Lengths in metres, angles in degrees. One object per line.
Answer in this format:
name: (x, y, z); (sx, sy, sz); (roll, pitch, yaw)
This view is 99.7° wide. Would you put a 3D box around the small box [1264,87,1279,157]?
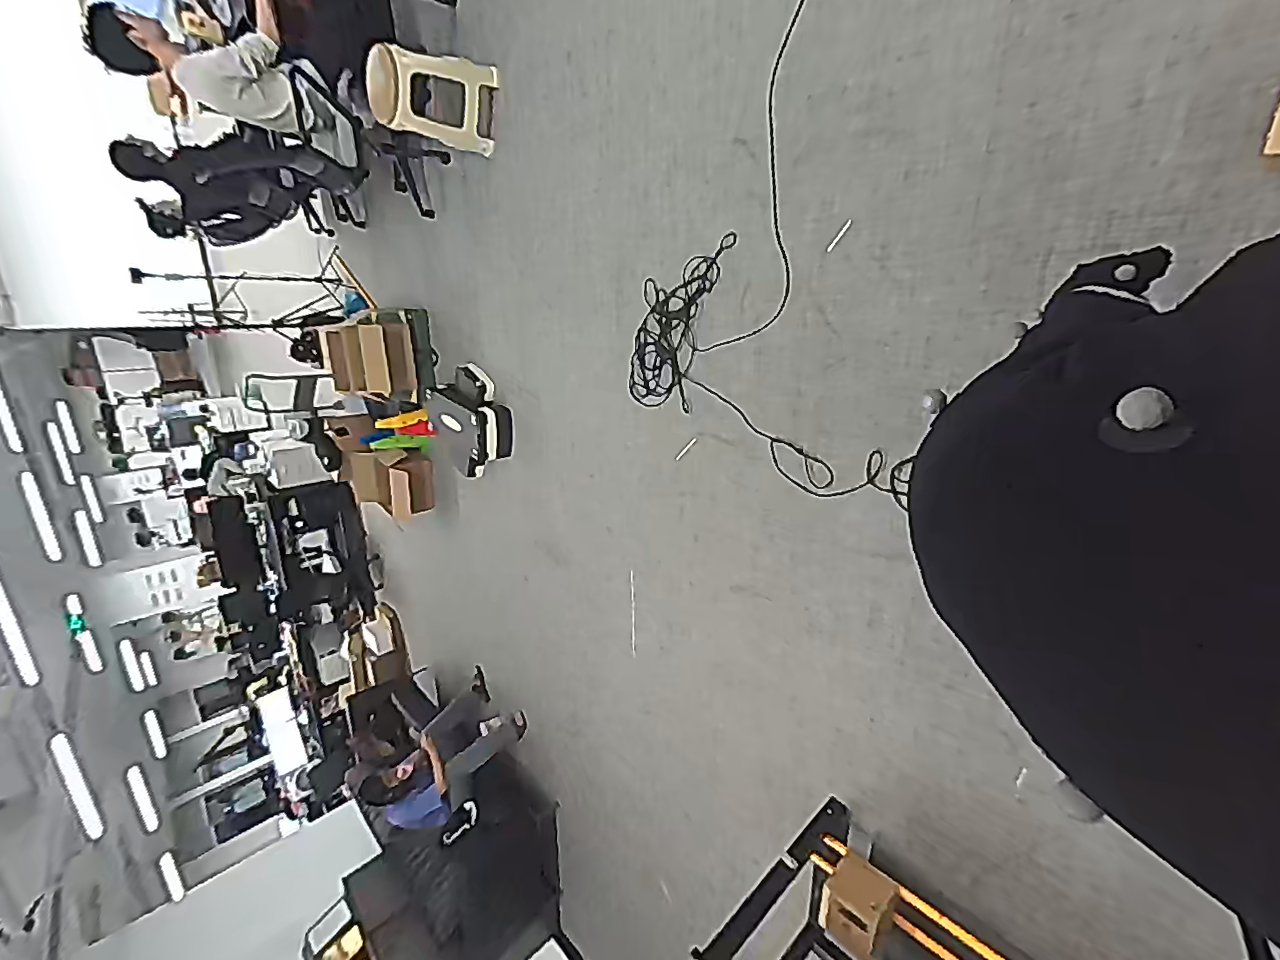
small box: (1.063, -0.598, 0.792); (0.168, 0.176, 0.179); (19, 117, 44)
